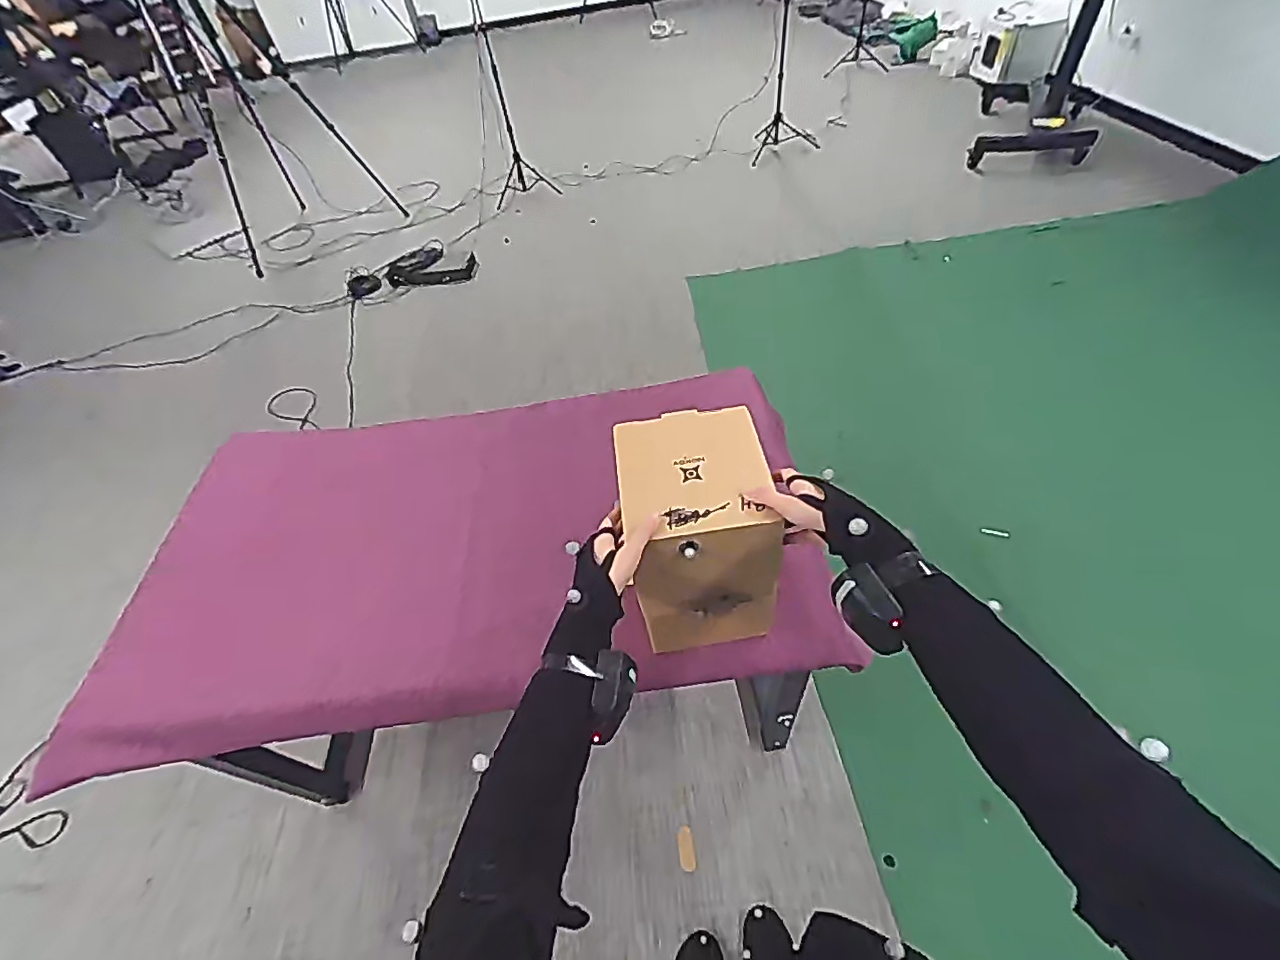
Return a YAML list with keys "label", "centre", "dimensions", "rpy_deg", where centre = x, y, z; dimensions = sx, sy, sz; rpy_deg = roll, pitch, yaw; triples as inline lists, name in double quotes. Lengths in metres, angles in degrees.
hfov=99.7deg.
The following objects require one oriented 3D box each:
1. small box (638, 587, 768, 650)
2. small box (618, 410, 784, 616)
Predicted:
- label: "small box"
  centre: [0.087, 0.134, 0.798]
  dimensions: [0.179, 0.176, 0.168]
  rpy_deg: [-10, 50, 0]
- label: "small box"
  centre: [0.068, 0.042, 0.661]
  dimensions: [0.168, 0.176, 0.179]
  rpy_deg: [-9, 49, 2]
